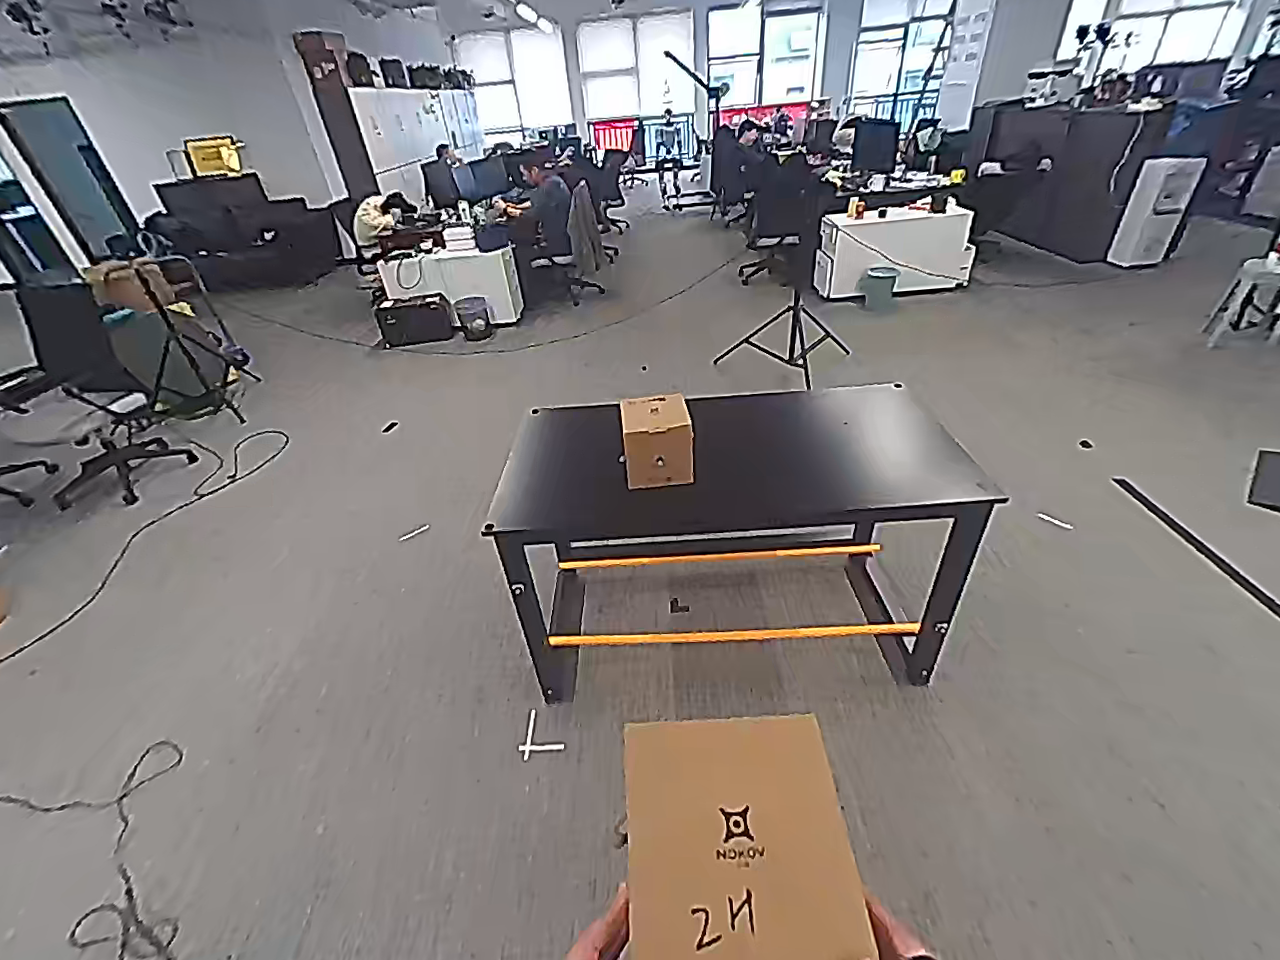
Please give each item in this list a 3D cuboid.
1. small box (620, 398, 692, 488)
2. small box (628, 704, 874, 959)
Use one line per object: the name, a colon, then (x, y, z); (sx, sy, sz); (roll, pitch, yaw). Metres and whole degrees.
small box: (0.040, -0.090, 1.392); (0.168, 0.176, 0.179); (-7, 35, 0)
small box: (0.074, 0.319, 0.473); (0.168, 0.176, 0.179); (-3, 45, 0)
